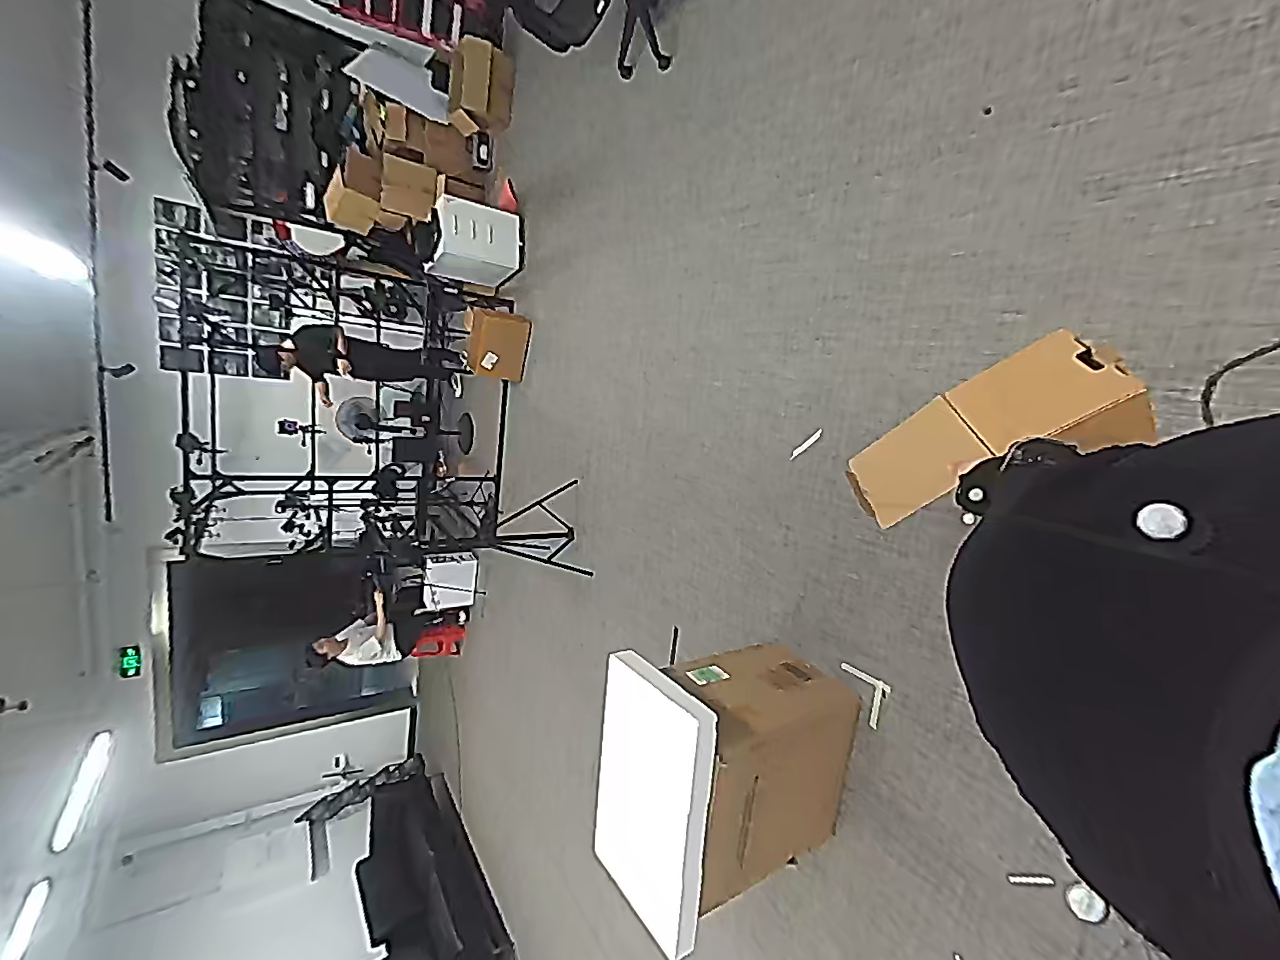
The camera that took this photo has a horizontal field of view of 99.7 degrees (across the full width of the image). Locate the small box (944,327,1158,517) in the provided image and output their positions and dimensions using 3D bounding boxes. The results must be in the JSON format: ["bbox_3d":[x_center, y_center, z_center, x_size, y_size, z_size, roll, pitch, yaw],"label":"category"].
[{"bbox_3d":[0.583,-0.076,0.775,0.179,0.176,0.168,-32,35,23],"label":"small box"}]
